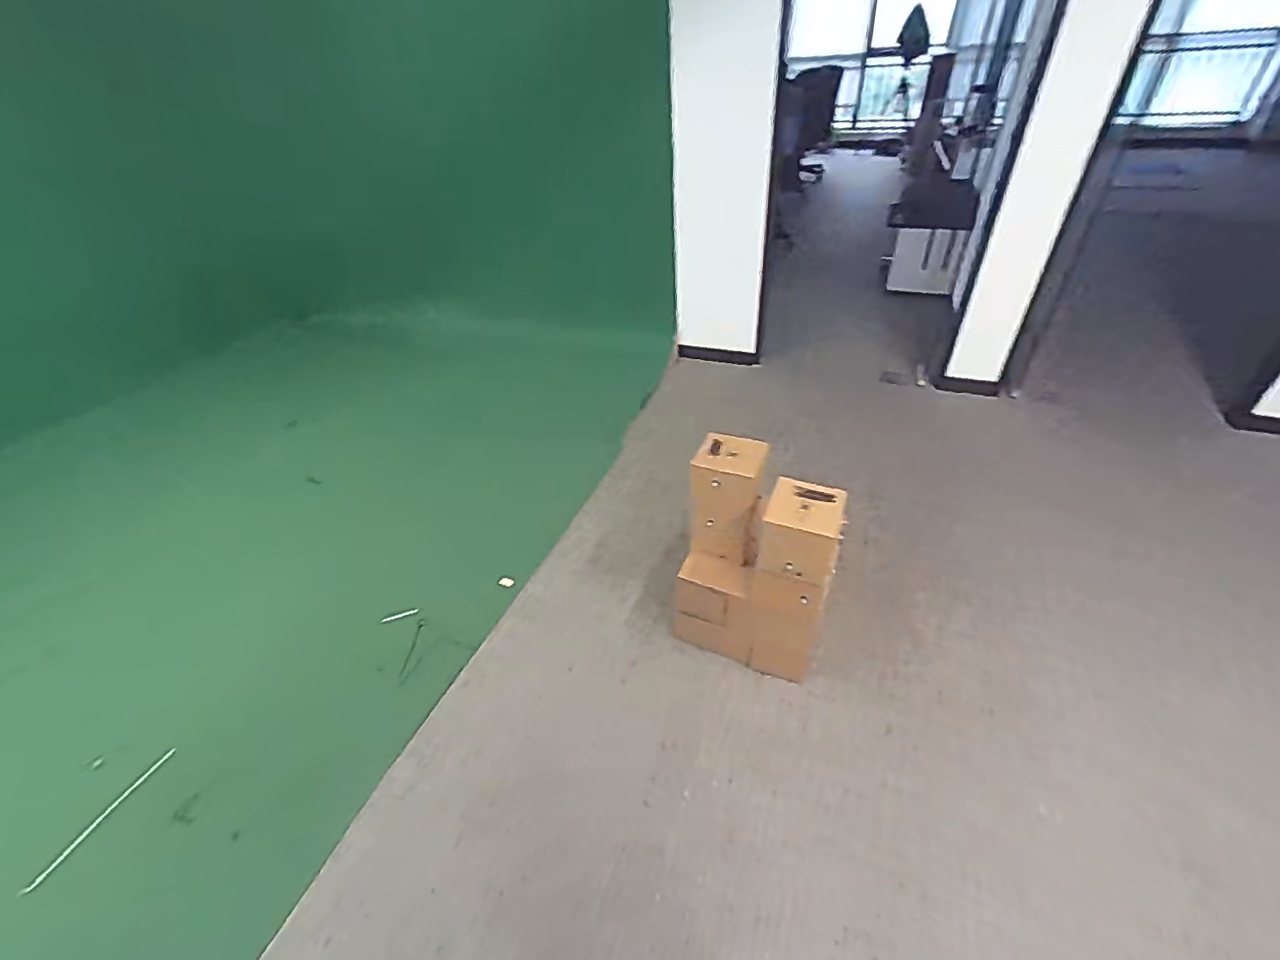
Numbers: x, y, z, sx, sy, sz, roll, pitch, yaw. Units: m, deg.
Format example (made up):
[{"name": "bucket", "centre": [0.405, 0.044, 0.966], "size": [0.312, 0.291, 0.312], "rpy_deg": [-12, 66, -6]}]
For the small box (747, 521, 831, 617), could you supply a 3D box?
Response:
[{"name": "small box", "centre": [0.394, 0.239, 1.439], "size": [0.179, 0.176, 0.168], "rpy_deg": [13, 41, 19]}]

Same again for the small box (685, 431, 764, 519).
[{"name": "small box", "centre": [0.234, -0.012, 1.499], "size": [0.179, 0.176, 0.168], "rpy_deg": [12, 41, 21]}]

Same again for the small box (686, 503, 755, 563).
[{"name": "small box", "centre": [0.240, 0.115, 1.608], "size": [0.168, 0.176, 0.179], "rpy_deg": [13, 41, 21]}]
